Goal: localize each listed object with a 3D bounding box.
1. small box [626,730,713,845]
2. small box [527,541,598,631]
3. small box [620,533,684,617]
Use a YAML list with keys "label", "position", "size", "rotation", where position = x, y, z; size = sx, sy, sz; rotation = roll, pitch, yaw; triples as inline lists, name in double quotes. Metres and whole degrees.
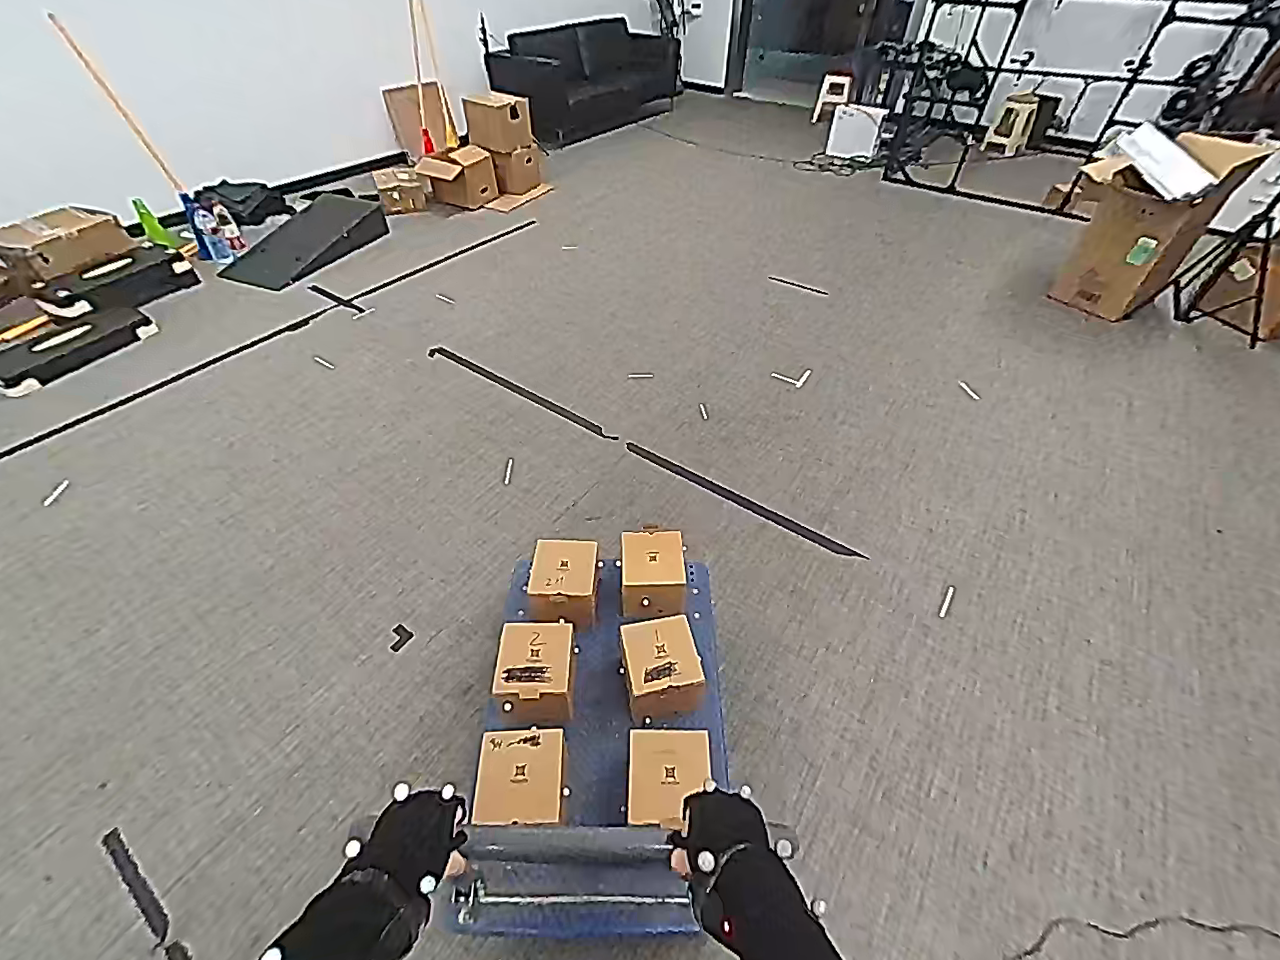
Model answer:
- label: "small box"
  position: [0.057, 0.645, 1.131]
  size: [0.168, 0.176, 0.179]
  rotation: [2, 45, -1]
- label: "small box"
  position: [-0.202, 0.288, 1.472]
  size: [0.168, 0.176, 0.179]
  rotation: [2, 46, 1]
- label: "small box"
  position: [0.030, 0.268, 1.503]
  size: [0.168, 0.176, 0.179]
  rotation: [-1, 45, -3]
